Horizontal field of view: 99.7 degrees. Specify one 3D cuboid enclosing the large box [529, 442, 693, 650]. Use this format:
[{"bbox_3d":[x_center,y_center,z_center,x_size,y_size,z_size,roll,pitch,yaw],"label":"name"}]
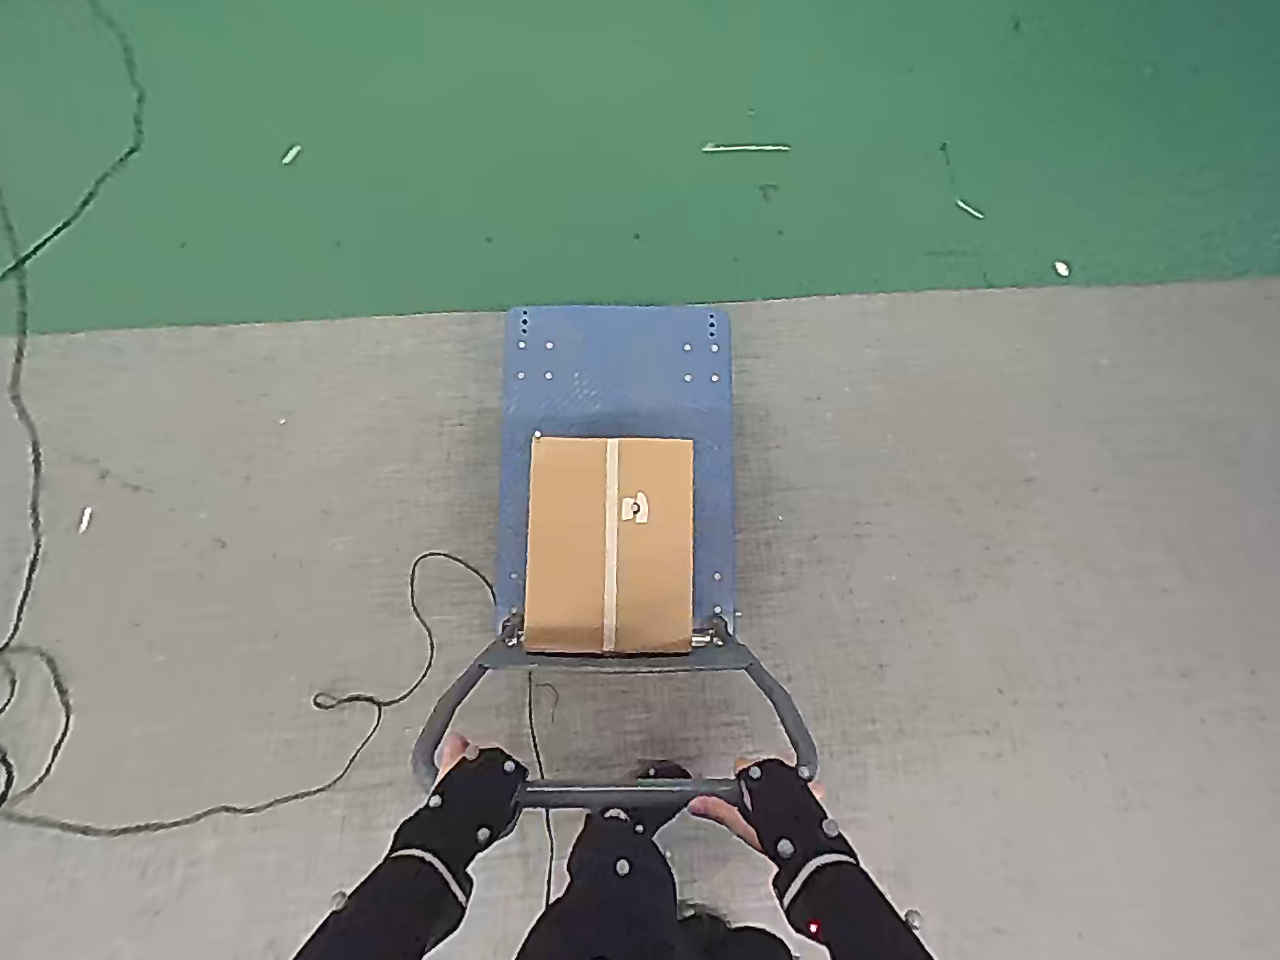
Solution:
[{"bbox_3d":[-0.059,0.144,1.191,0.320,0.320,0.408,1,82,-2],"label":"large box"}]
